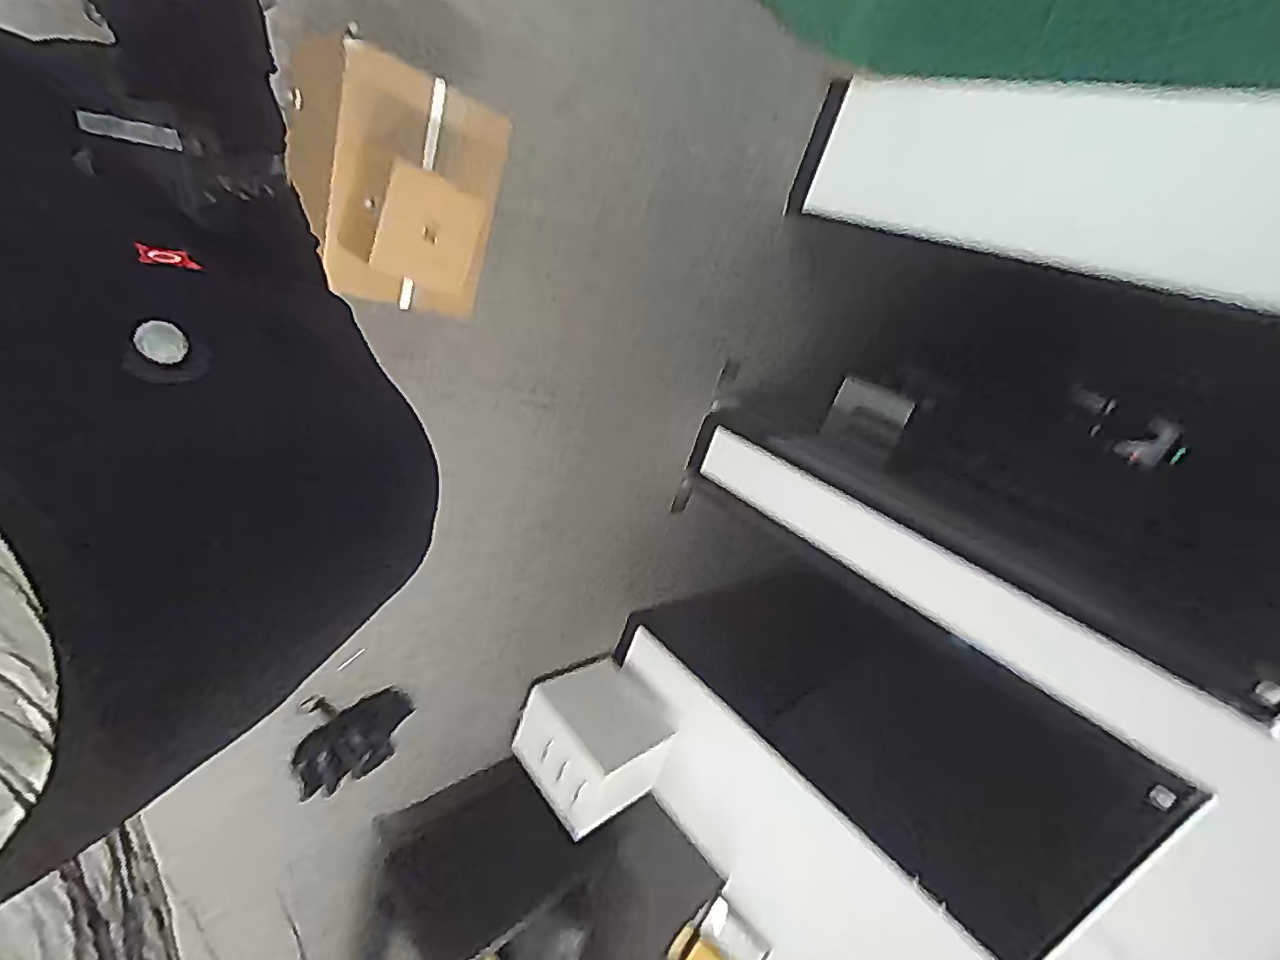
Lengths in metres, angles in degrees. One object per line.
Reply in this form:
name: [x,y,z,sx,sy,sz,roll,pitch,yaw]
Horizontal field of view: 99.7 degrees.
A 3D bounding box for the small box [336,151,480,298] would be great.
small box: [-0.420,-0.457,0.967,0.168,0.176,0.179,5,116,-49]
